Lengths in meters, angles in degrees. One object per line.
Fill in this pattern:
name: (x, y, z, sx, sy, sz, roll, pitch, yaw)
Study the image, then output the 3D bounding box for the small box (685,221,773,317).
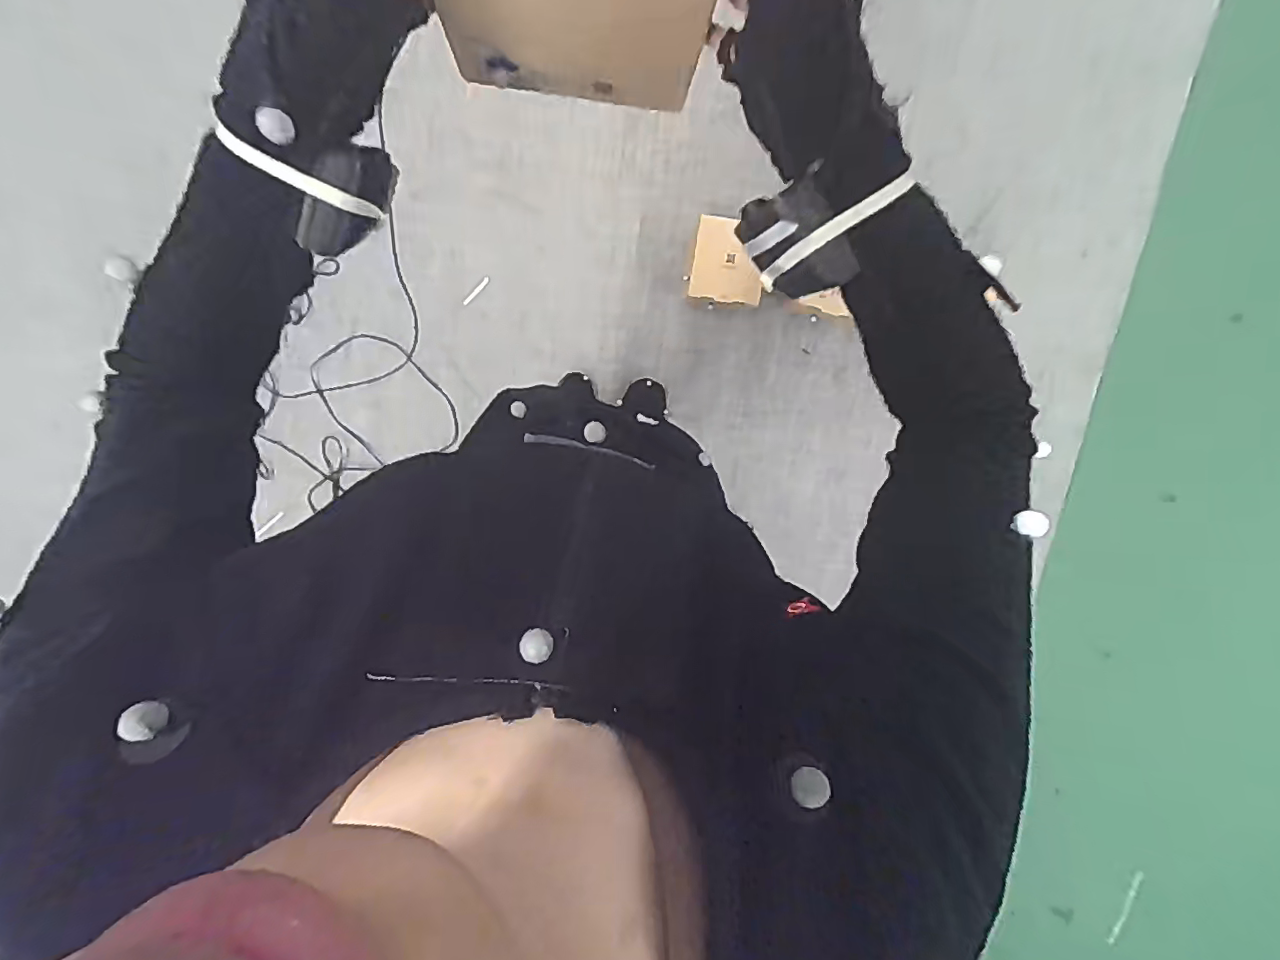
small box: (0.204, -0.495, 1.291, 0.168, 0.176, 0.179, 8, 103, -2)

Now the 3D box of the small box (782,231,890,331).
small box: (0.459, -0.468, 1.297, 0.168, 0.176, 0.179, 16, 103, -3)
